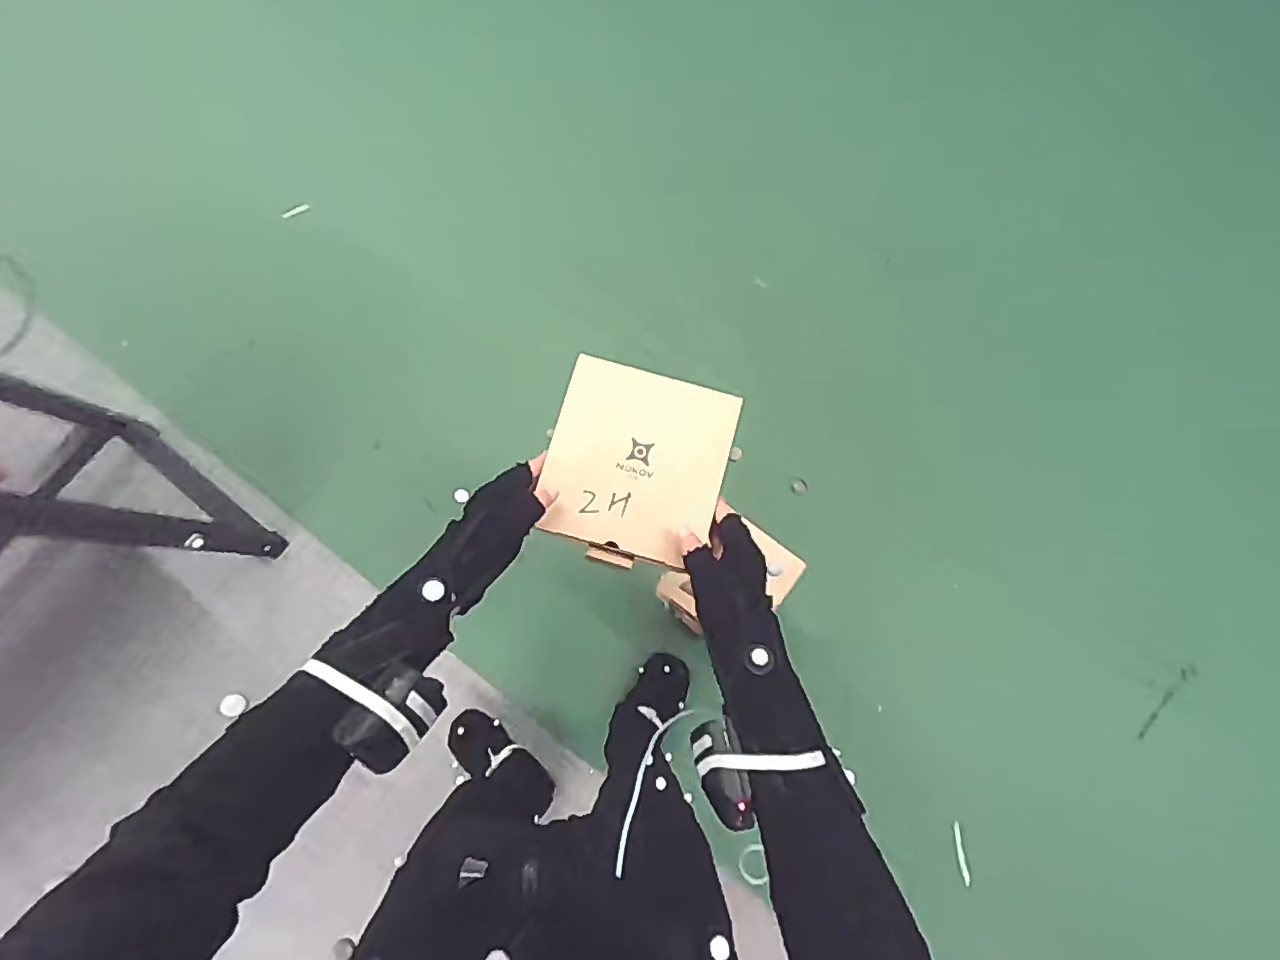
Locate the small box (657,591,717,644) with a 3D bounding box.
[{"bbox_3d":[0.153,0.248,1.239,0.168,0.176,0.179,38,83,10],"label":"small box"}]

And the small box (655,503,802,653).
[{"bbox_3d":[0.143,0.167,0.919,0.168,0.176,0.179,38,81,10],"label":"small box"}]
